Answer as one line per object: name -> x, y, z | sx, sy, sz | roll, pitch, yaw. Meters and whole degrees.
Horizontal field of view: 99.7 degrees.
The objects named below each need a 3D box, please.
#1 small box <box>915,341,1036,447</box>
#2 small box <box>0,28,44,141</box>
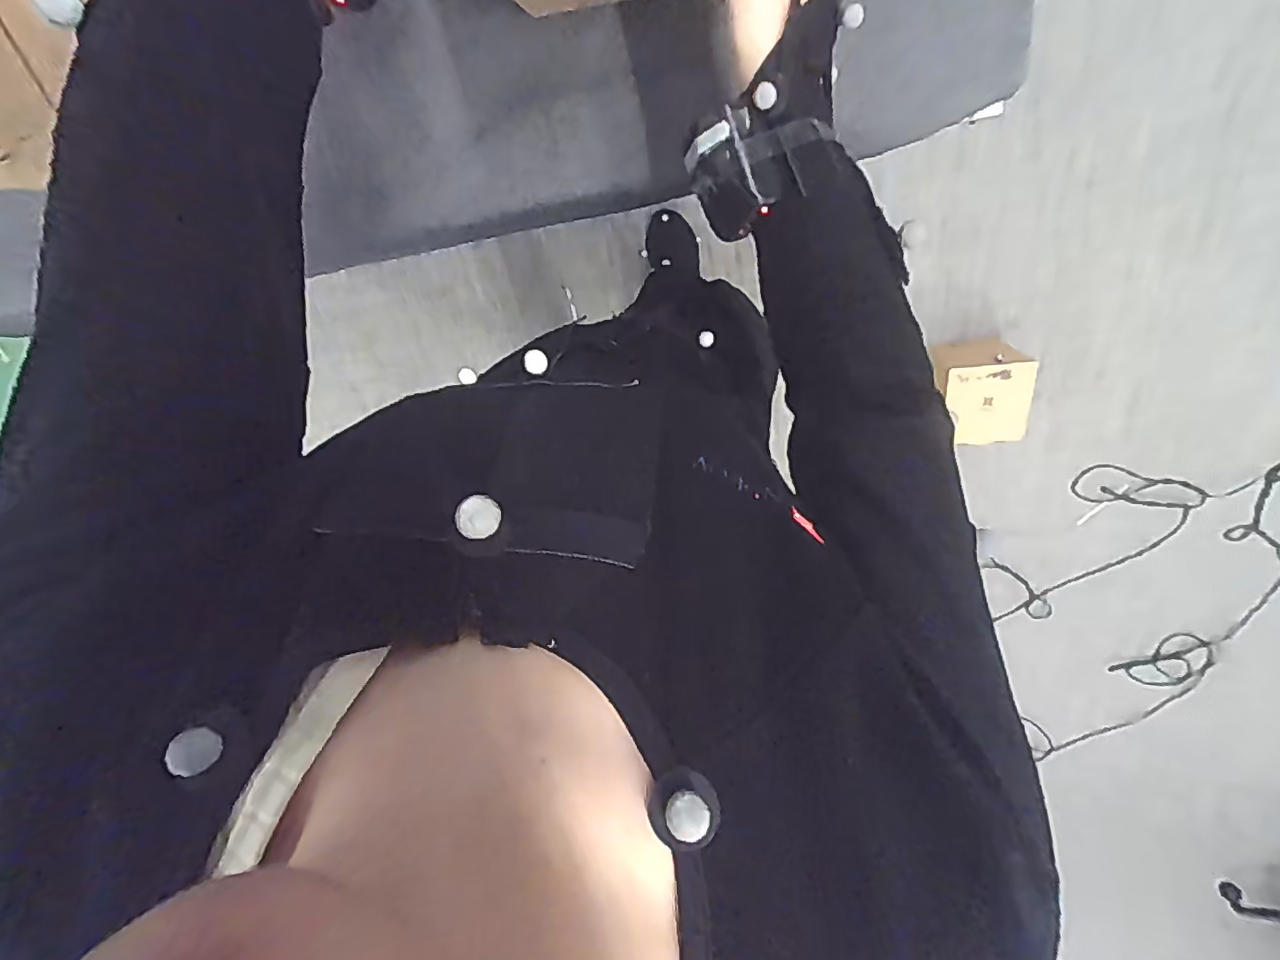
small box -> 0.718, -0.190, 1.181 | 0.168, 0.176, 0.179 | -3, 119, 10
small box -> -0.509, -0.276, 0.282 | 0.168, 0.176, 0.179 | -11, 116, 14
